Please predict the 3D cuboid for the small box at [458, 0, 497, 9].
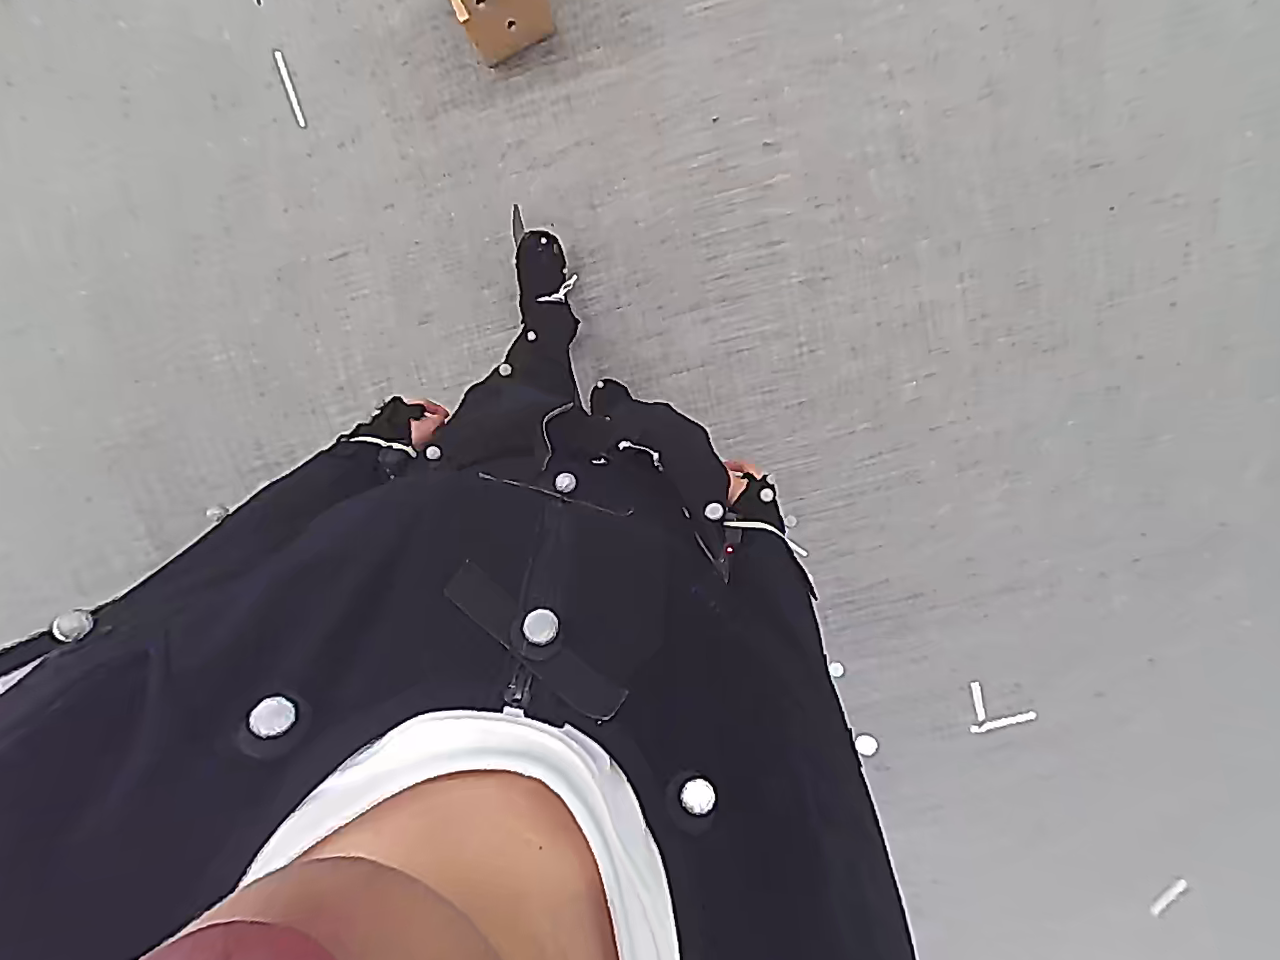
[{"bbox_3d":[-0.280,-0.950,0.909,0.168,0.176,0.179,-20,101,6],"label":"small box"}]
